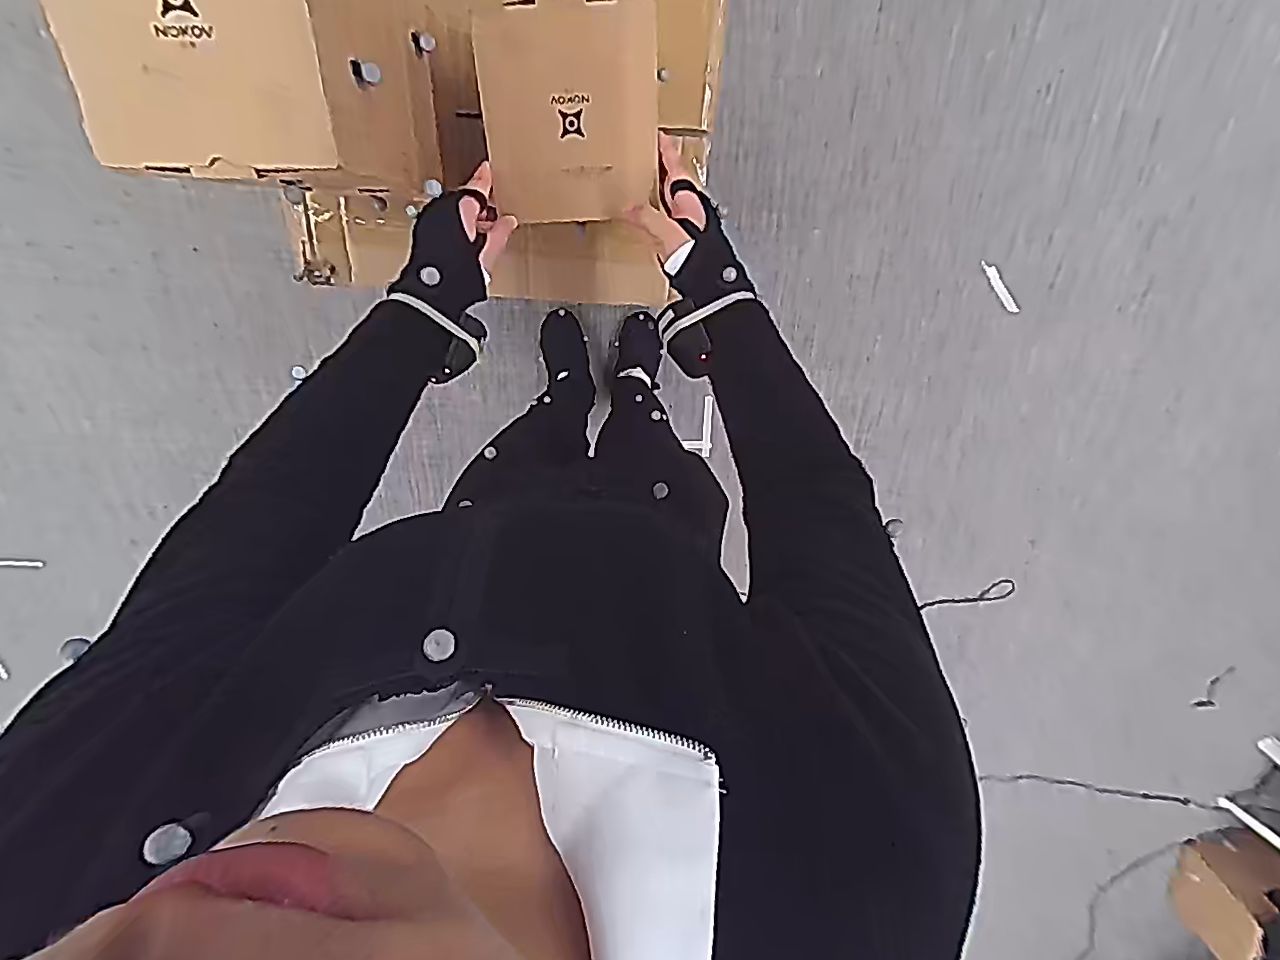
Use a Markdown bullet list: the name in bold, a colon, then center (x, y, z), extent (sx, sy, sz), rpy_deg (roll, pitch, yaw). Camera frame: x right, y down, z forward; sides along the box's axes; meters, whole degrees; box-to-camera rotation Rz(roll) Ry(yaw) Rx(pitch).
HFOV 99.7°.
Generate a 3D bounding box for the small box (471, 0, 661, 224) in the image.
- **small box**: center (-0.065, -0.375, 0.579), extent (0.168, 0.176, 0.179), rpy_deg (-2, 117, 2)

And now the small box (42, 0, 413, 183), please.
- **small box**: center (-0.292, -0.330, 0.413), extent (0.168, 0.176, 0.179), rpy_deg (-1, 116, -2)

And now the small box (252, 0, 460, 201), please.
- **small box**: center (-0.296, -0.397, 0.562), extent (0.168, 0.176, 0.179), rpy_deg (1, 115, -3)
